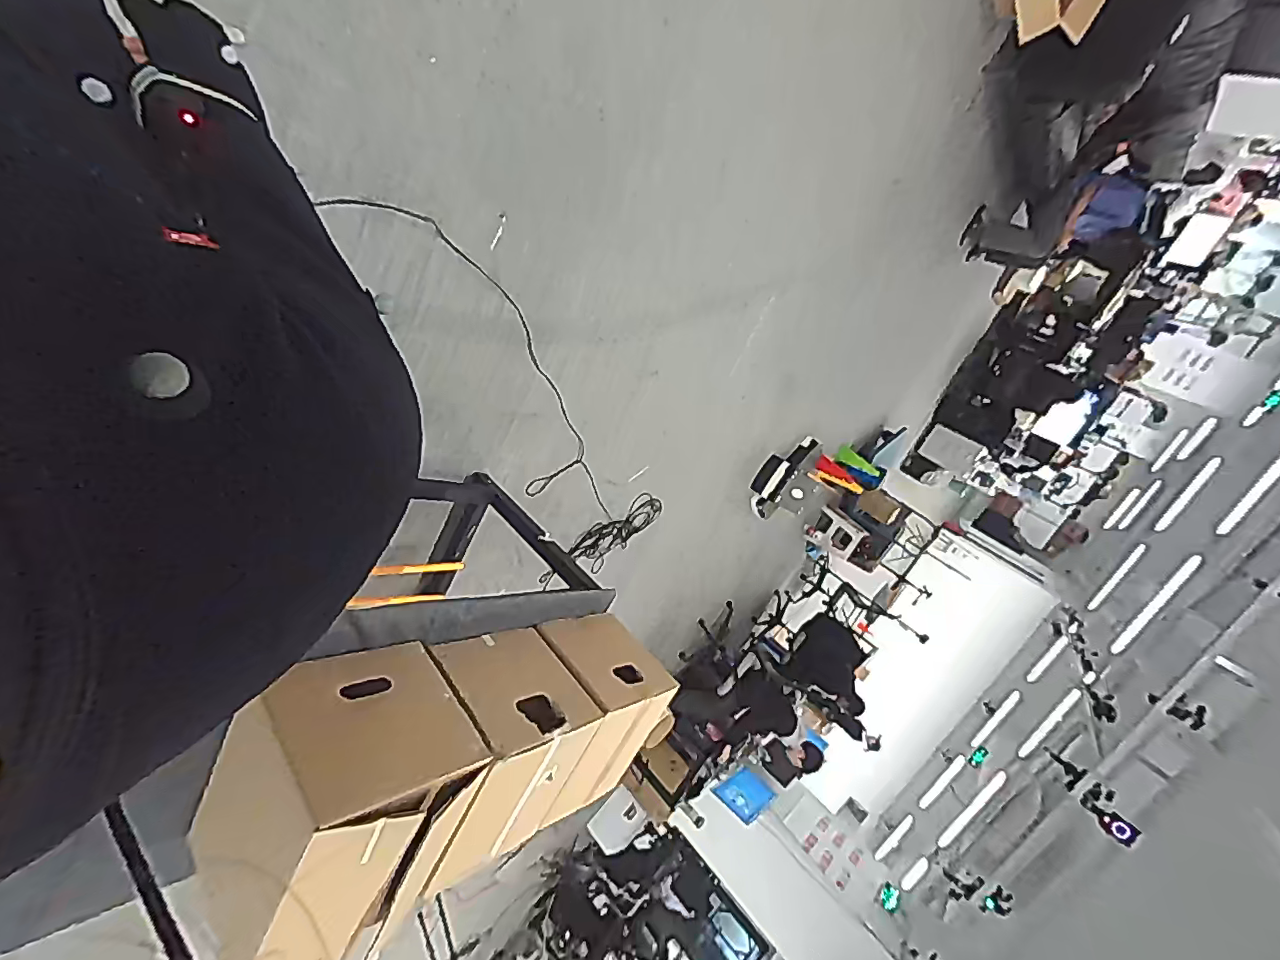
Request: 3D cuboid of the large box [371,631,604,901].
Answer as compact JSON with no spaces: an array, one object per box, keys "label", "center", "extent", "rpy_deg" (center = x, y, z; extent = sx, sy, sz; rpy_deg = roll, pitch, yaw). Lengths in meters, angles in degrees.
[{"label":"large box","center":[-0.356,0.617,1.235],"extent":[0.320,0.320,0.408],"rpy_deg":[6,115,-54]}]
